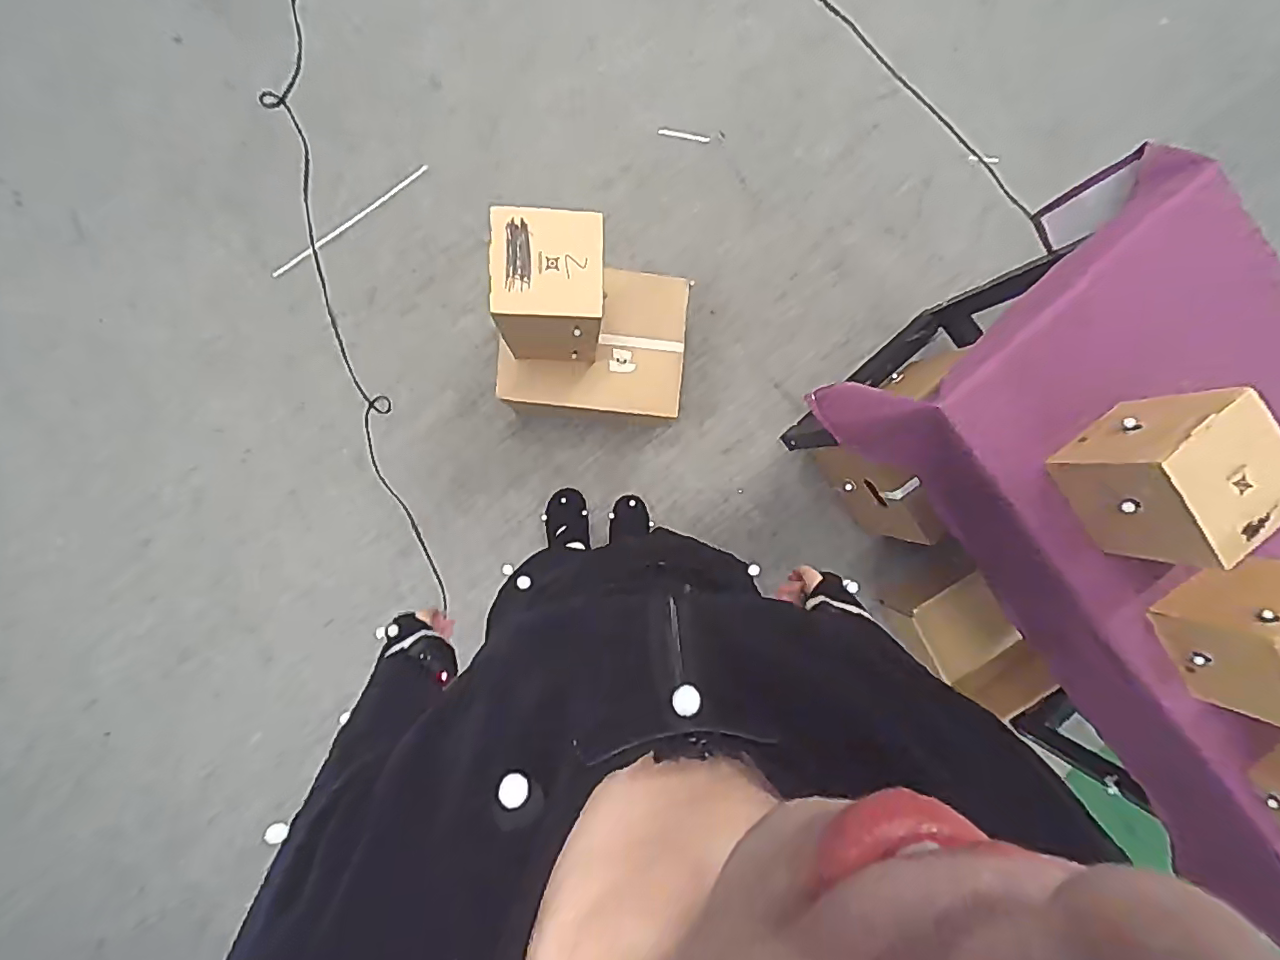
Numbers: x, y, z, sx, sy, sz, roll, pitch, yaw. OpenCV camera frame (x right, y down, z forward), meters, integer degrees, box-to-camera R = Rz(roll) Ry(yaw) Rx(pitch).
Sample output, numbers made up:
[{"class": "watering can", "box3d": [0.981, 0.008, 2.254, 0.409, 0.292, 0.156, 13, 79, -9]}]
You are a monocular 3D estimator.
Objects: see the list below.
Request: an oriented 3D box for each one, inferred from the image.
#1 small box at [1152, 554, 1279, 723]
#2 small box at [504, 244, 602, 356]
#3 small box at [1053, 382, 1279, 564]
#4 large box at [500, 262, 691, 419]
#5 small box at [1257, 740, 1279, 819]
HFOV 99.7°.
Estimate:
[{"class": "small box", "box3d": [0.924, 0.226, 0.788, 0.179, 0.176, 0.168, -32, 95, -3]}, {"class": "small box", "box3d": [-0.169, -0.348, 1.074, 0.179, 0.176, 0.168, 2, 91, -6]}, {"class": "small box", "box3d": [0.743, -0.009, 0.759, 0.168, 0.176, 0.179, -37, 94, -3]}, {"class": "large box", "box3d": [-0.113, -0.328, 1.327, 0.408, 0.320, 0.320, 5, 93, -7]}, {"class": "small box", "box3d": [1.107, 0.489, 0.813, 0.179, 0.176, 0.168, -37, 95, -4]}]
